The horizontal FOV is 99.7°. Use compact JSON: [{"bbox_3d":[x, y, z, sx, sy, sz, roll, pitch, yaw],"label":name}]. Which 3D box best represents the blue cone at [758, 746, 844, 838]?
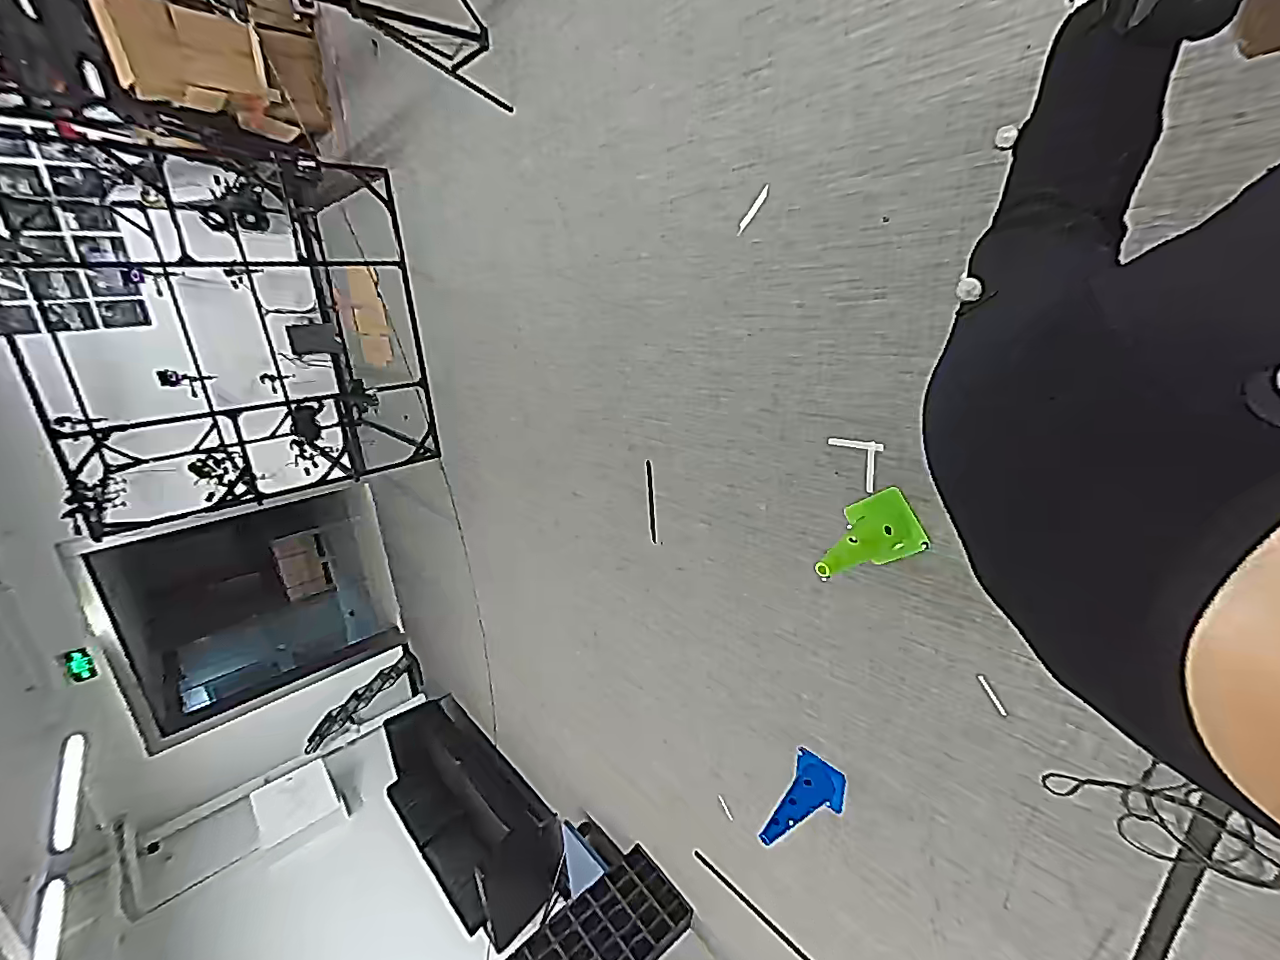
[{"bbox_3d":[0.577,1.193,2.001,0.192,0.380,0.193,23,122,45],"label":"blue cone"}]

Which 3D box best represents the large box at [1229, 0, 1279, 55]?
[{"bbox_3d":[0.569,-0.447,0.219,0.408,0.320,0.320,18,122,44],"label":"large box"}]

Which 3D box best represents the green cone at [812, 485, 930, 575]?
[{"bbox_3d":[0.602,0.176,1.506,0.202,0.368,0.200,-40,73,52],"label":"green cone"}]
